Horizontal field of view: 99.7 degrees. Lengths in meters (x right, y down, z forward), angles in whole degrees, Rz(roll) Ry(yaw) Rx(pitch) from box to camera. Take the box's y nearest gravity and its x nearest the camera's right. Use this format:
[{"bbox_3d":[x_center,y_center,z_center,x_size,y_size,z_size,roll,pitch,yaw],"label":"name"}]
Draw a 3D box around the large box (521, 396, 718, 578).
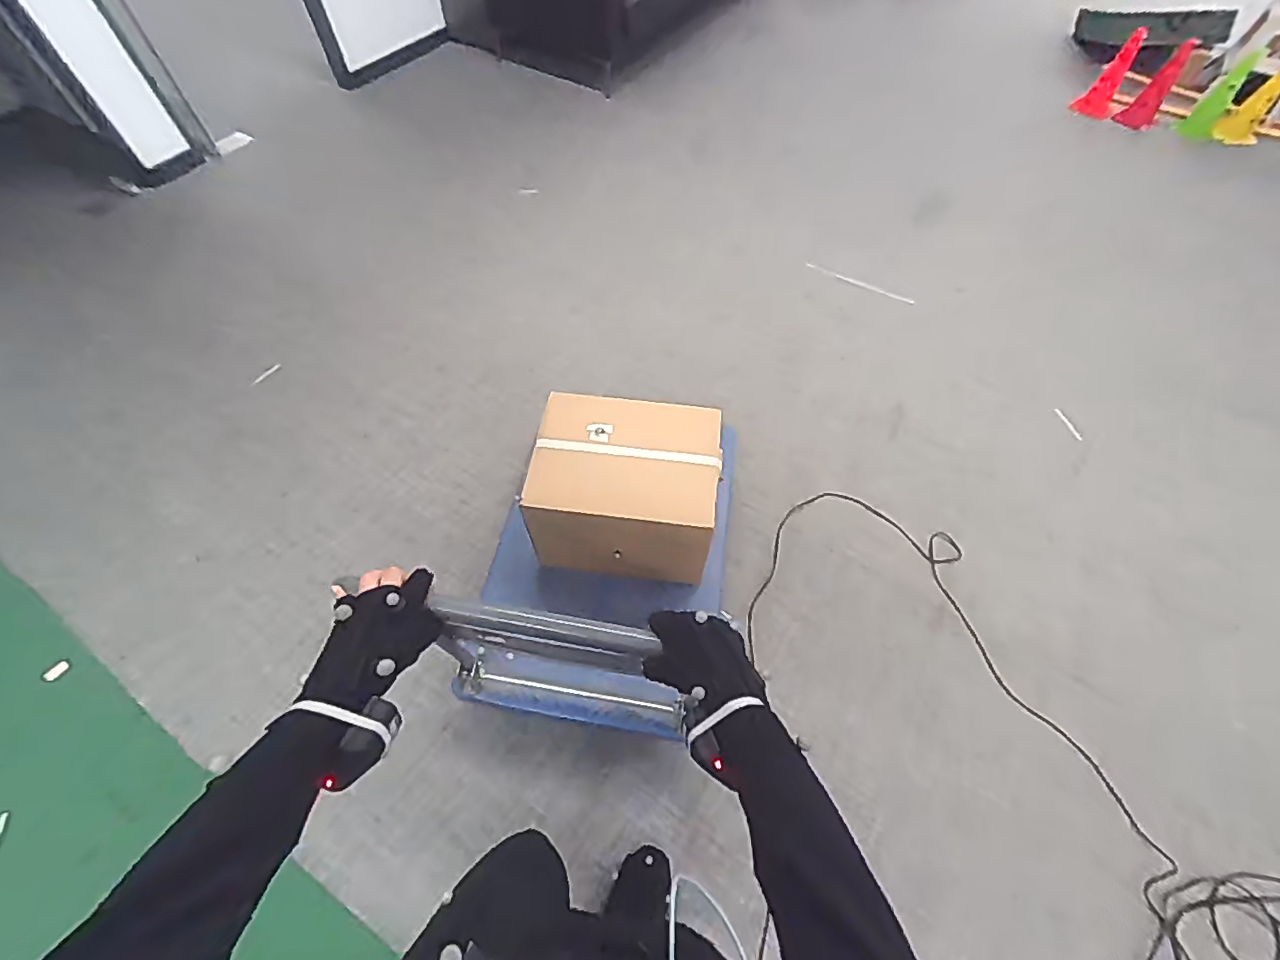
[{"bbox_3d":[-0.031,0.026,1.305,0.408,0.320,0.320,6,58,4],"label":"large box"}]
